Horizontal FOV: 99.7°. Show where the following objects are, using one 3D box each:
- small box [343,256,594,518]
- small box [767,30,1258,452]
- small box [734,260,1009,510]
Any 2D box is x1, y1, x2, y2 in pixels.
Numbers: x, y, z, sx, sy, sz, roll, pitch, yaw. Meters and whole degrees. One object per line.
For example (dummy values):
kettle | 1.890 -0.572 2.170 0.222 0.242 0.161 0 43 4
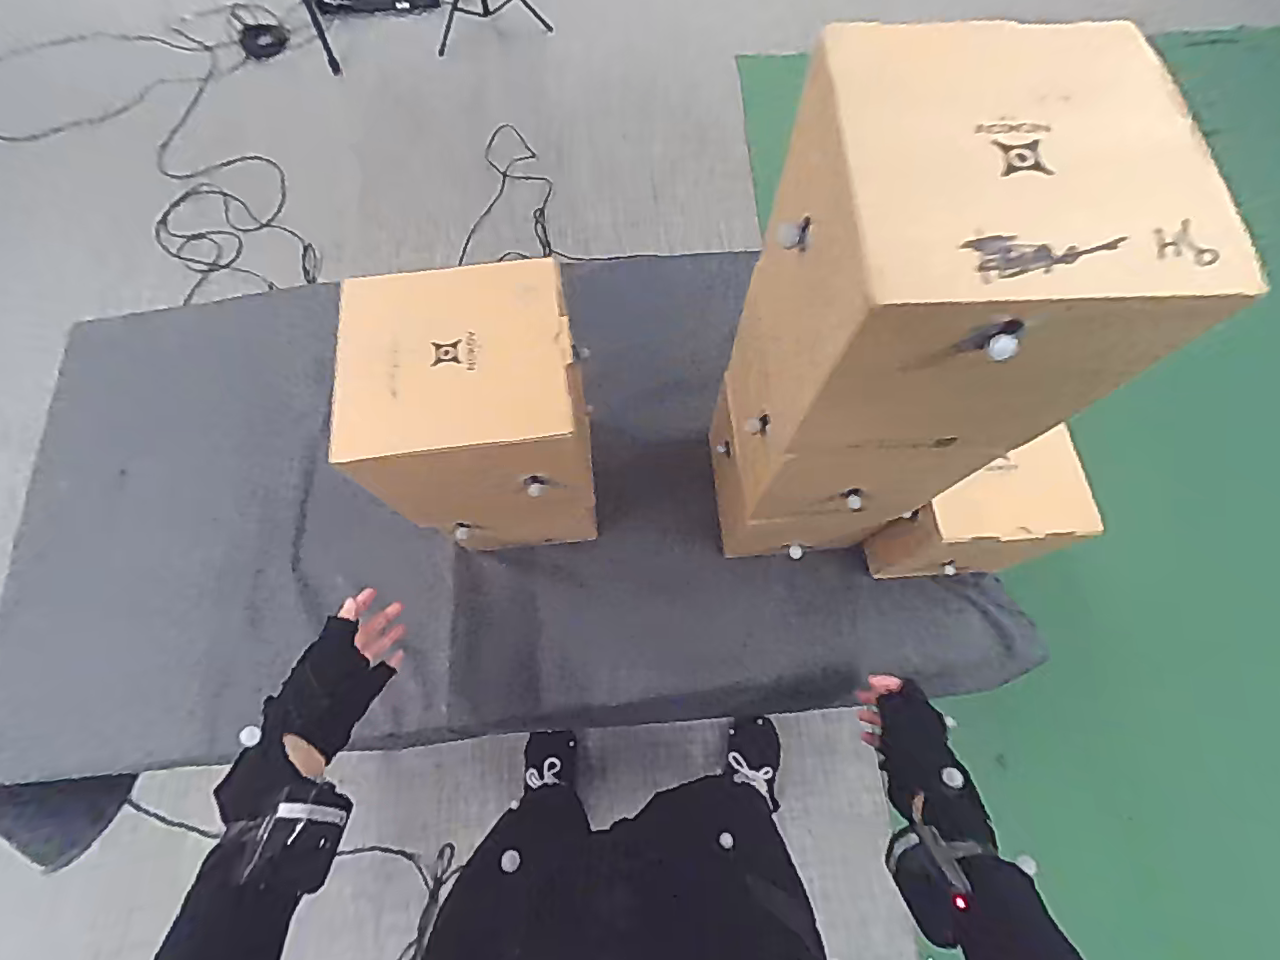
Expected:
small box | -0.136 -0.073 0.492 0.179 0.176 0.168 -7 69 -2
small box | 0.181 -0.130 0.334 0.168 0.176 0.179 -1 69 1
small box | 0.184 -0.075 0.489 0.168 0.176 0.179 -3 70 0
